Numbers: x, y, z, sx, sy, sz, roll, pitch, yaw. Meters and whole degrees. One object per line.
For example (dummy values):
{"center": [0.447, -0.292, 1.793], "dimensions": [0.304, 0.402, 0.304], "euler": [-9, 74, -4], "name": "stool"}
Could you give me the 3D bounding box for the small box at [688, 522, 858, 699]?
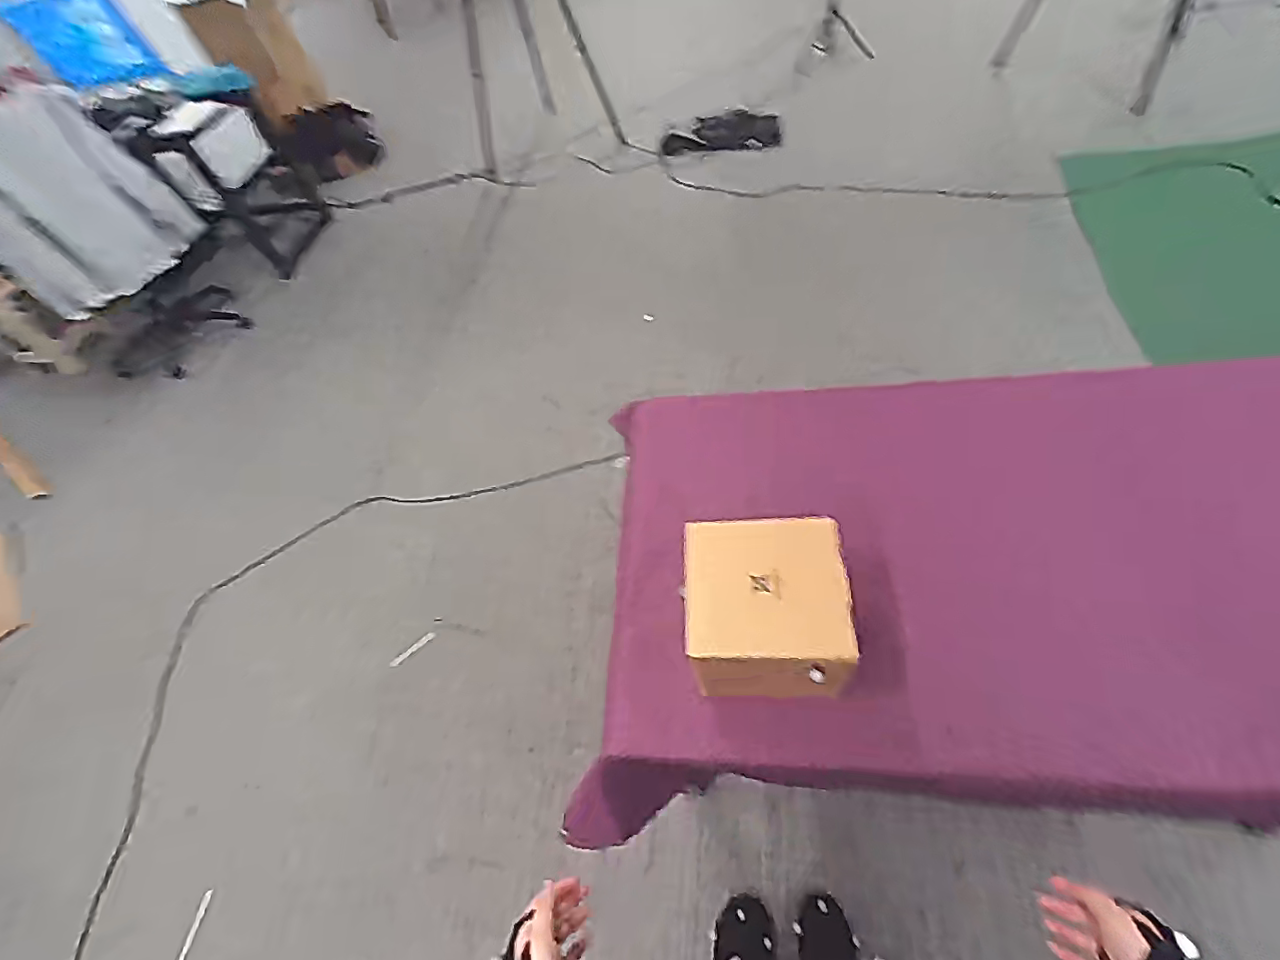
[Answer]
{"center": [0.156, 0.167, 0.670], "dimensions": [0.179, 0.176, 0.168], "euler": [-3, 54, 10], "name": "small box"}
